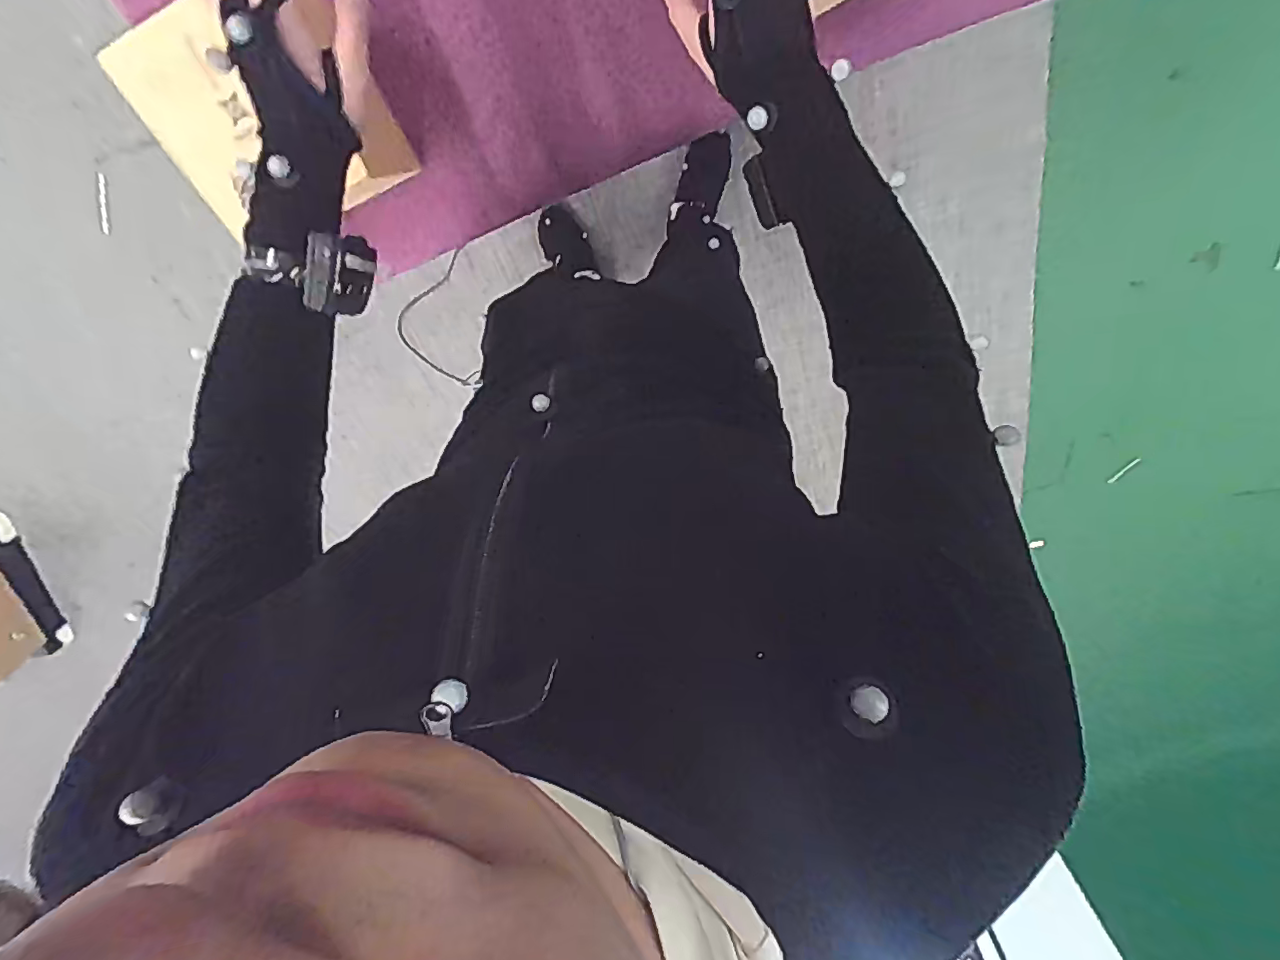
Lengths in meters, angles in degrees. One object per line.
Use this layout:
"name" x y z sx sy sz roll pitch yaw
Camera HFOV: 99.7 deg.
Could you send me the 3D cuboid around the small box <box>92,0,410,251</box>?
"small box" -0.379 -0.374 0.571 0.168 0.176 0.179 -21 121 11
